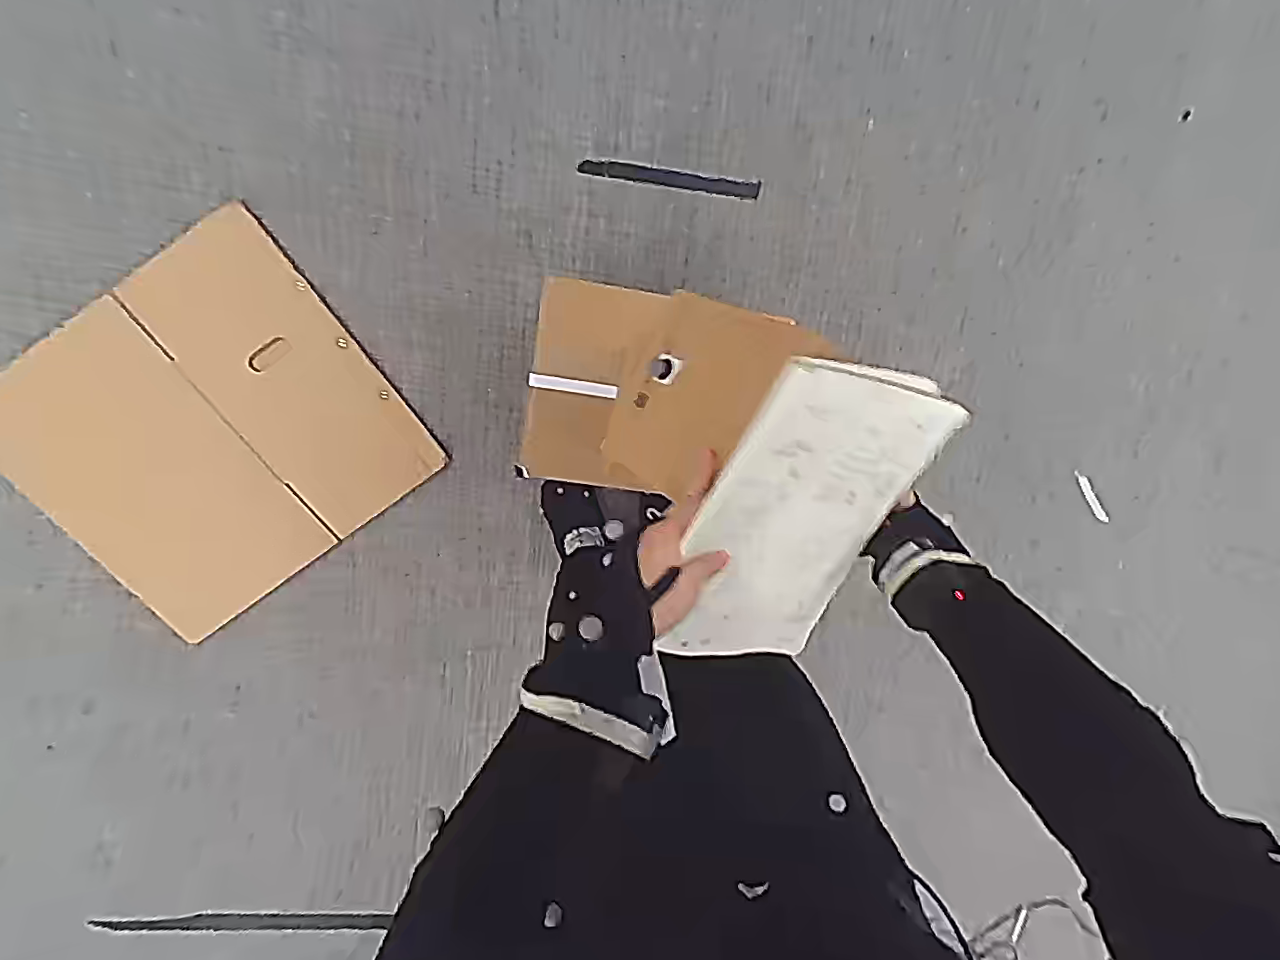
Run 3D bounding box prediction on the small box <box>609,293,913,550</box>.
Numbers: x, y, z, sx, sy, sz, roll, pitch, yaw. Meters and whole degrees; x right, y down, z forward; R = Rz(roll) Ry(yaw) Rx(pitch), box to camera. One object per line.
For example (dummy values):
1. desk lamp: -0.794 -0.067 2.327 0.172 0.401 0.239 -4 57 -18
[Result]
1. small box: 0.106 -0.052 0.498 0.179 0.176 0.168 12 109 -45
